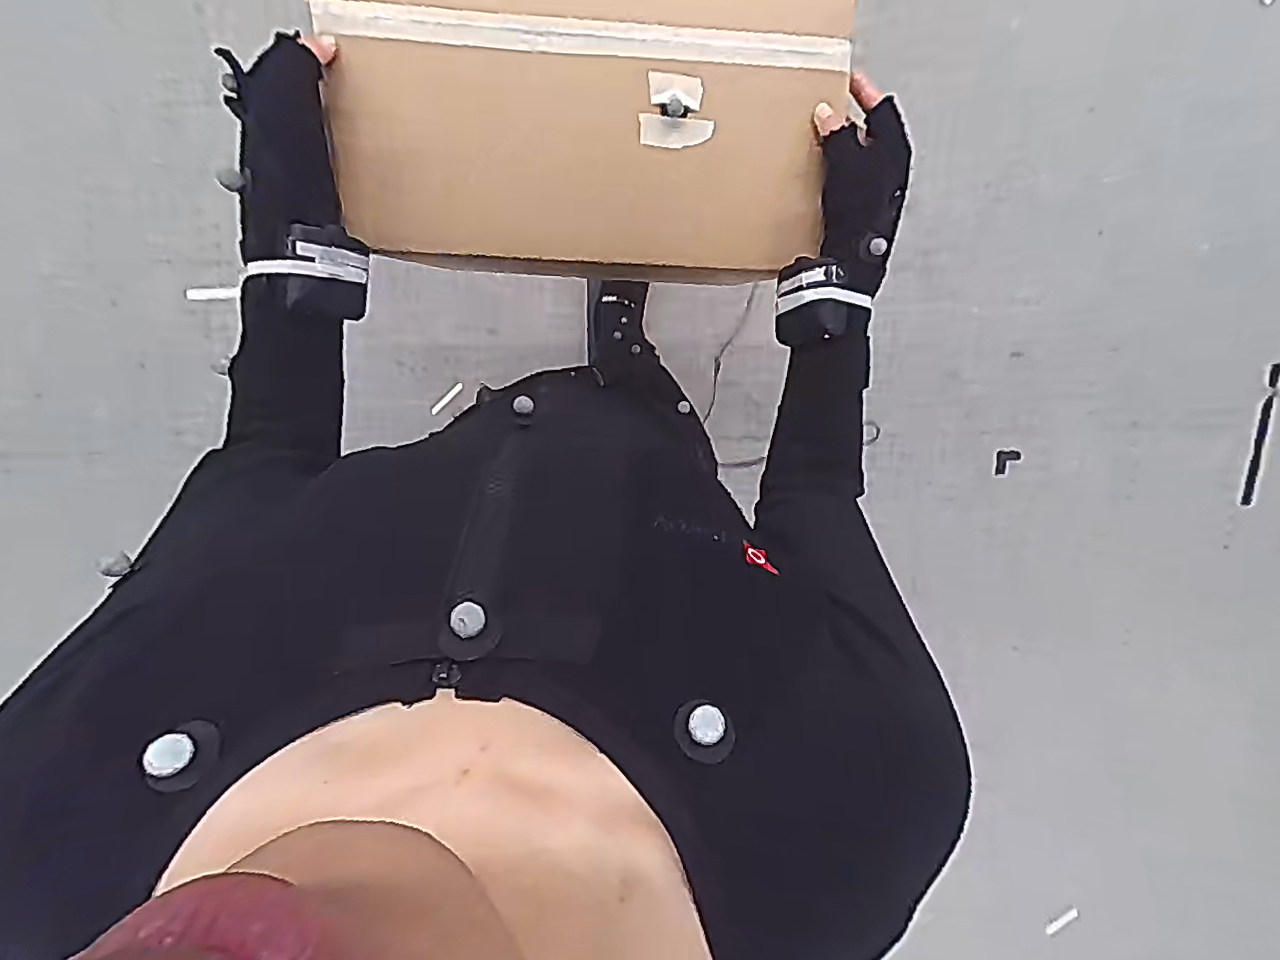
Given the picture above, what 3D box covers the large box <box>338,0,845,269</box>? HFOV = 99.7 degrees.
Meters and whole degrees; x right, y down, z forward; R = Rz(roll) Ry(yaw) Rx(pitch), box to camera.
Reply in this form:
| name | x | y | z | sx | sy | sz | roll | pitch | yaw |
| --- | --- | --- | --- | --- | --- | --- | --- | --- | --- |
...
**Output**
| name | x | y | z | sx | sy | sz | roll | pitch | yaw |
| --- | --- | --- | --- | --- | --- | --- | --- | --- | --- |
| large box | -0.046 | -0.399 | 0.569 | 0.408 | 0.320 | 0.320 | 1 | 109 | -5 |
